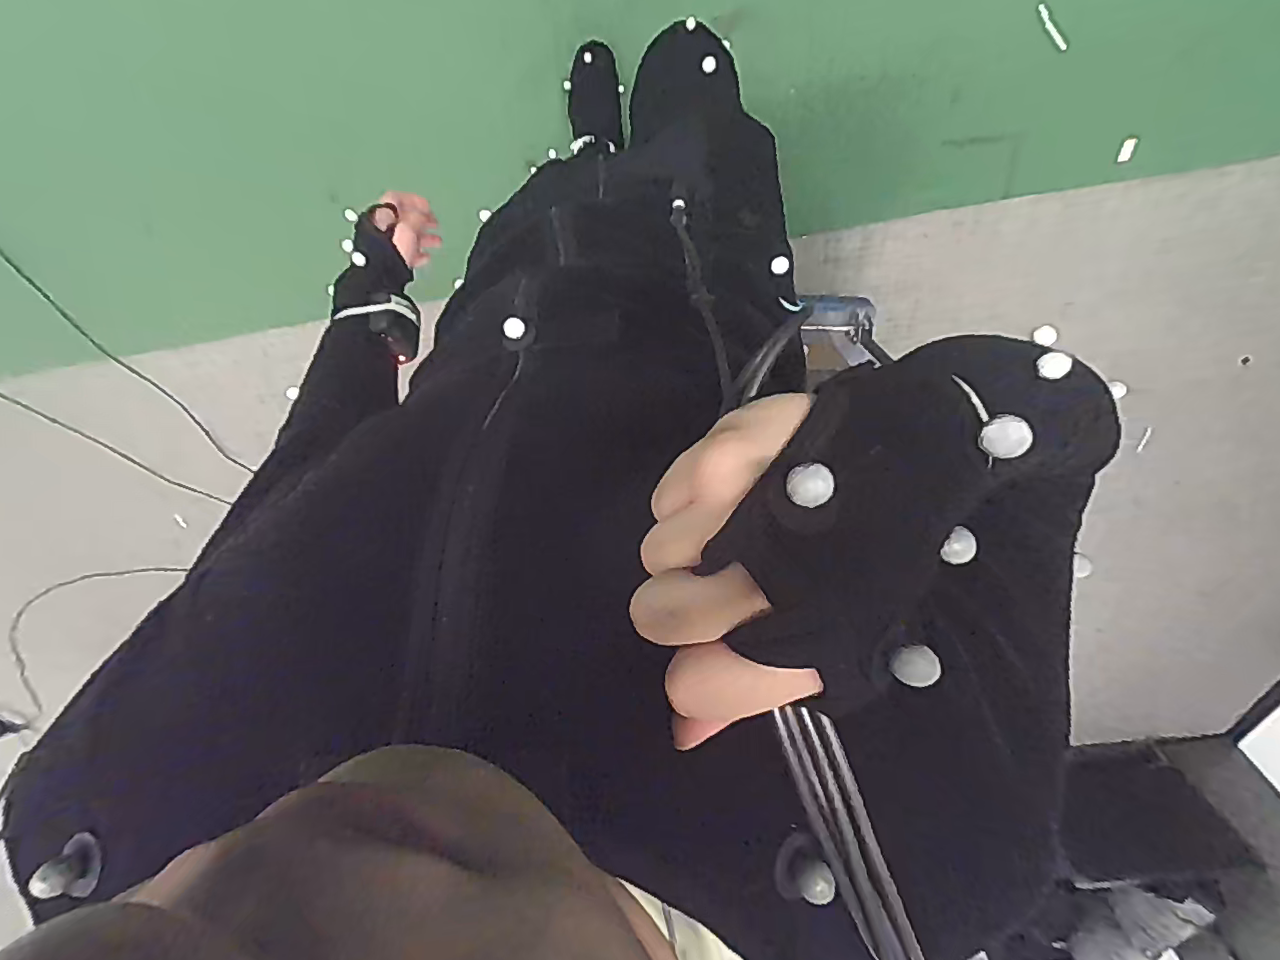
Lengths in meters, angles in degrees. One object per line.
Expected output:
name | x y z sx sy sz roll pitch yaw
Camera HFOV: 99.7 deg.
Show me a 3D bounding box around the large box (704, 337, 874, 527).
large box | 0.356 -0.127 1.419 0.320 0.320 0.408 0 129 -2
